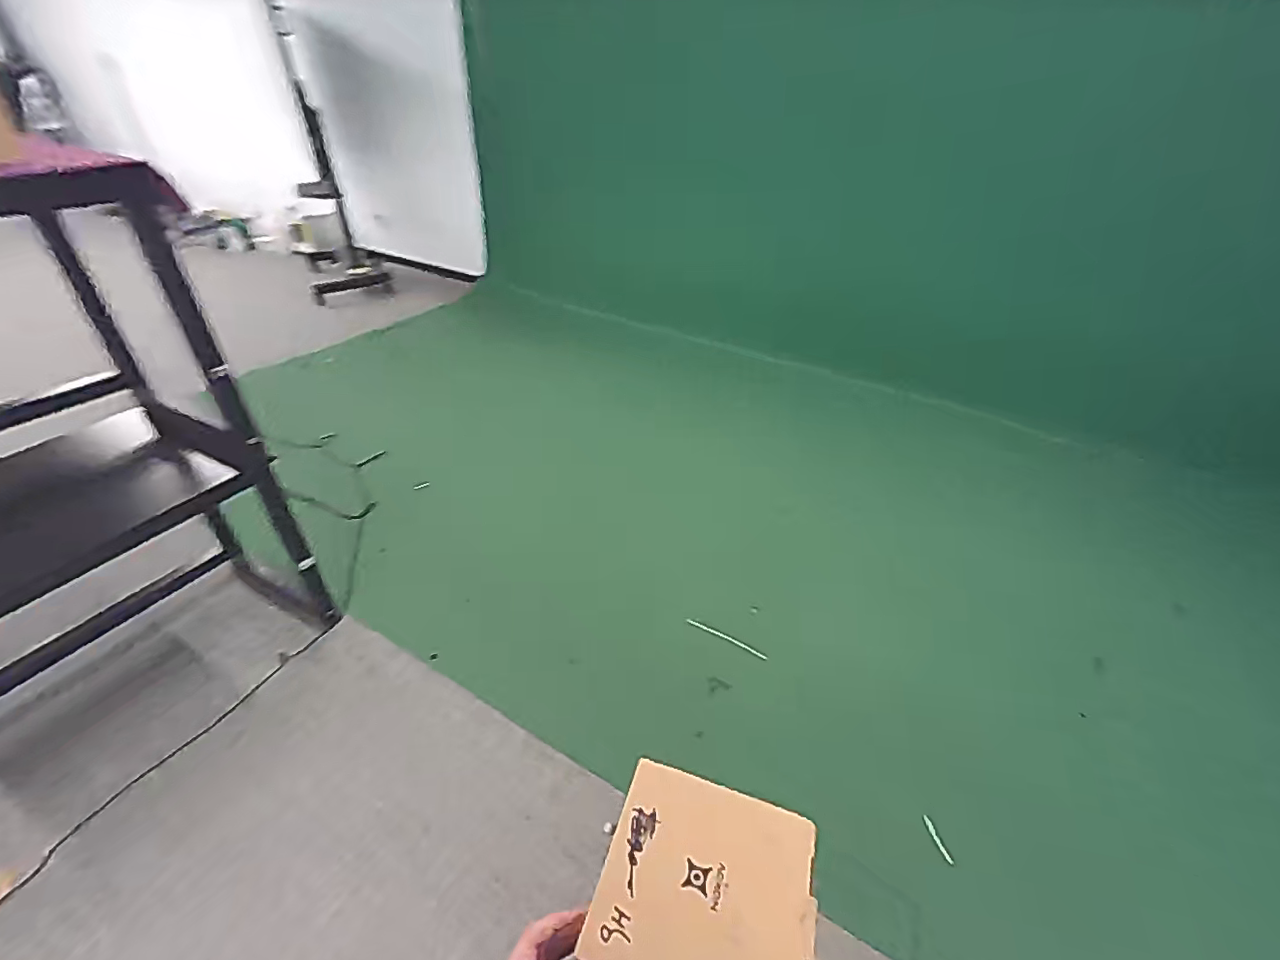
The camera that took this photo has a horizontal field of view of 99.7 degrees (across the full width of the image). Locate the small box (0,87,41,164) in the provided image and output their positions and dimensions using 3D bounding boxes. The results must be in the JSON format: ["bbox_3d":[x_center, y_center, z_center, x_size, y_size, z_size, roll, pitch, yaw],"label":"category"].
[{"bbox_3d":[-1.246,-0.656,0.953,0.168,0.176,0.179,20,40,22],"label":"small box"}]

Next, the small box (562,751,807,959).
[{"bbox_3d":[0.040,0.398,0.502,0.179,0.176,0.168,15,35,11],"label":"small box"}]
